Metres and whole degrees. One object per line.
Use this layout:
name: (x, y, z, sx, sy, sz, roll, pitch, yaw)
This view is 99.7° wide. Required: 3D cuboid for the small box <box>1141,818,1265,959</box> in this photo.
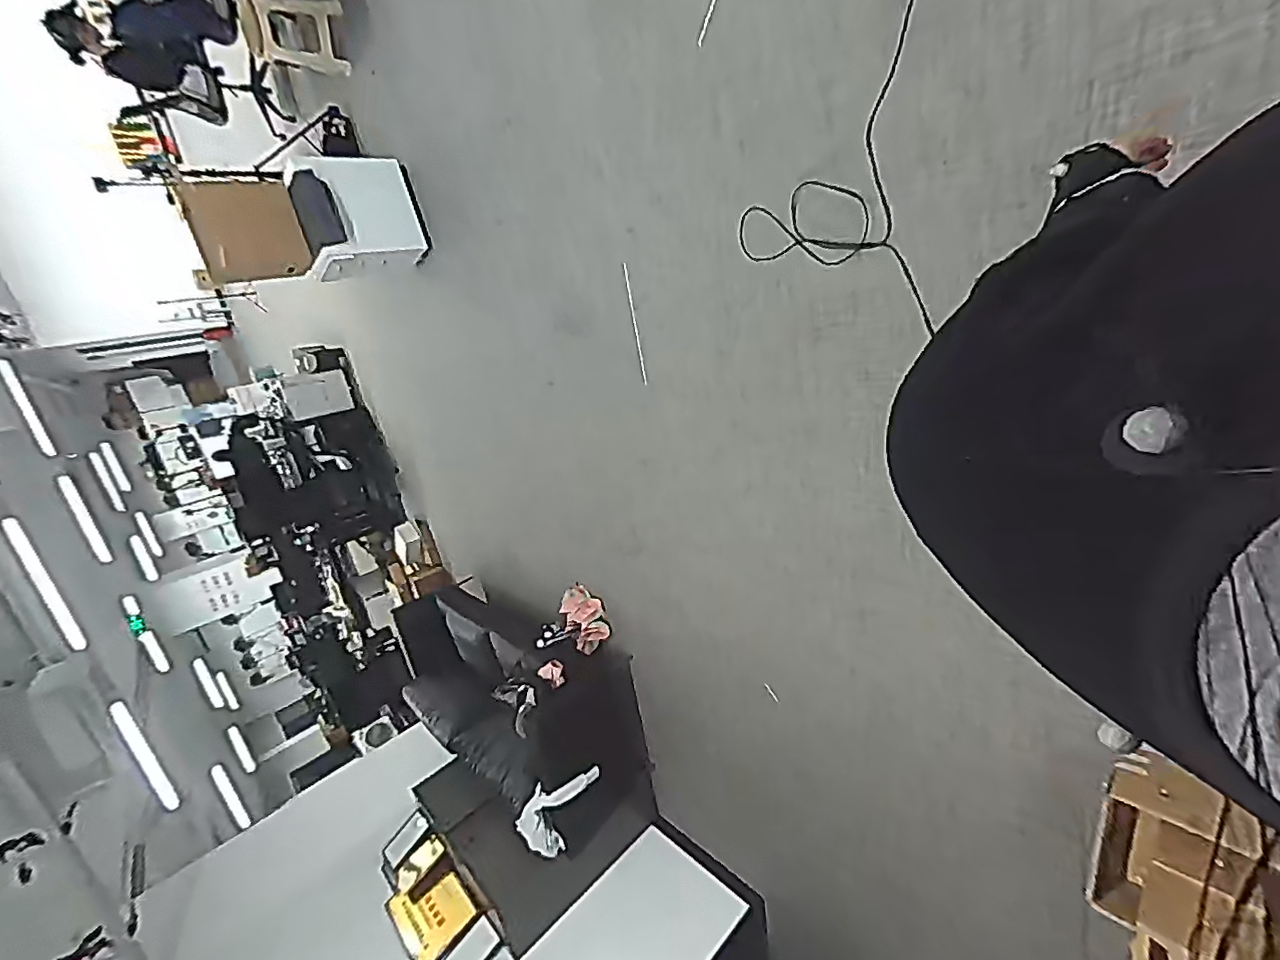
small box: (1.279, 0.924, 1.234, 0.179, 0.176, 0.168, 8, 114, 46)
